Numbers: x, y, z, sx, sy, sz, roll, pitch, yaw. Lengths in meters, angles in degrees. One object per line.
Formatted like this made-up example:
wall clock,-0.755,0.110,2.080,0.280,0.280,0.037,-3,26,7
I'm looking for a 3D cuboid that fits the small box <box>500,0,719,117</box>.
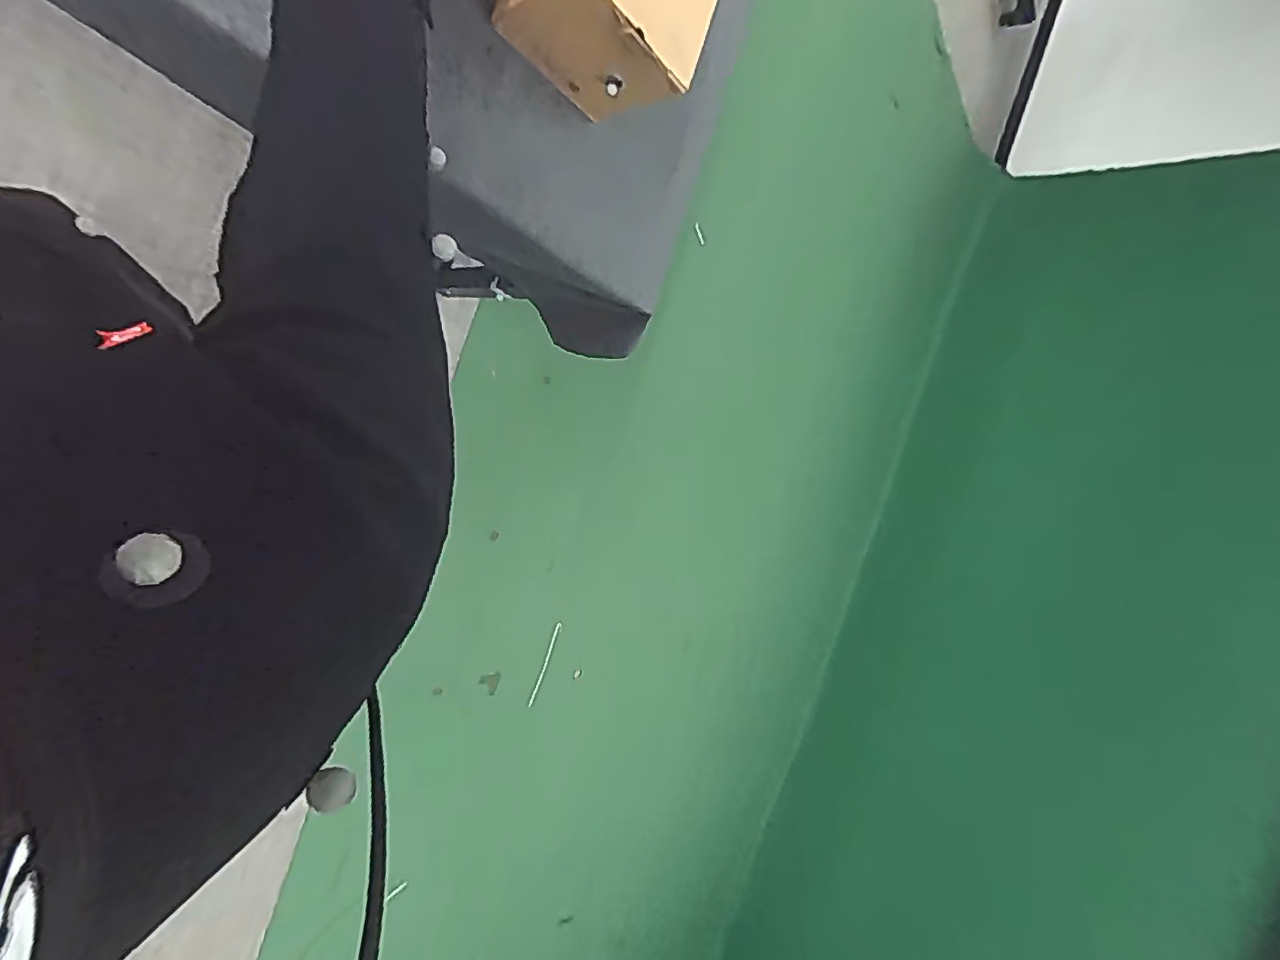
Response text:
small box,-0.030,-0.545,0.596,0.168,0.176,0.179,16,92,-49
